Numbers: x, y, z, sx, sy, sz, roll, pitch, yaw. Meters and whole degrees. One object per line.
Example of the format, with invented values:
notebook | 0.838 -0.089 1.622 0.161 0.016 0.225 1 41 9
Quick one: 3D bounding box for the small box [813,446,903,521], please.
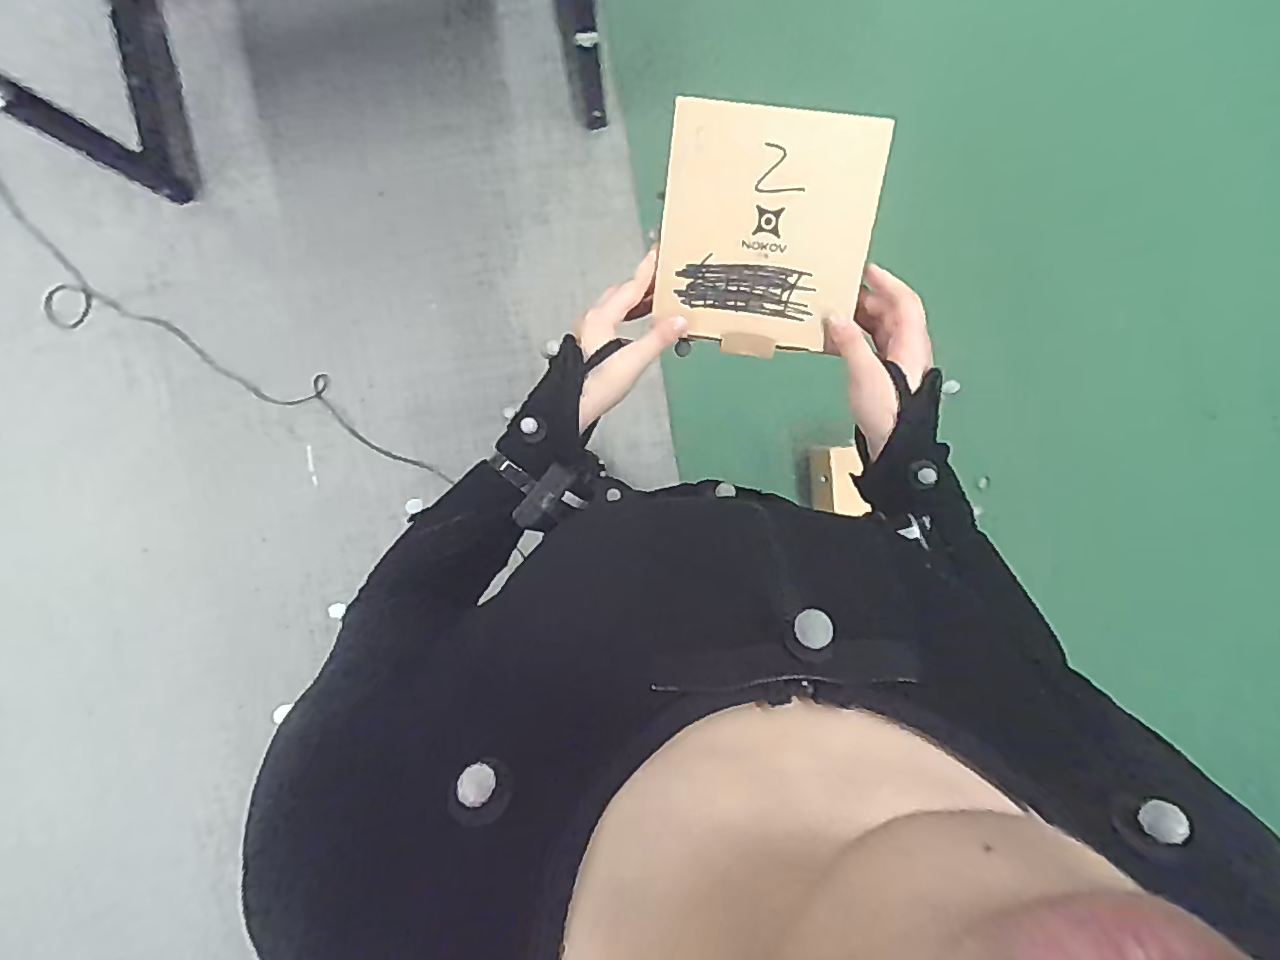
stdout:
small box | 0.558 0.004 1.399 0.168 0.176 0.179 -5 92 1
